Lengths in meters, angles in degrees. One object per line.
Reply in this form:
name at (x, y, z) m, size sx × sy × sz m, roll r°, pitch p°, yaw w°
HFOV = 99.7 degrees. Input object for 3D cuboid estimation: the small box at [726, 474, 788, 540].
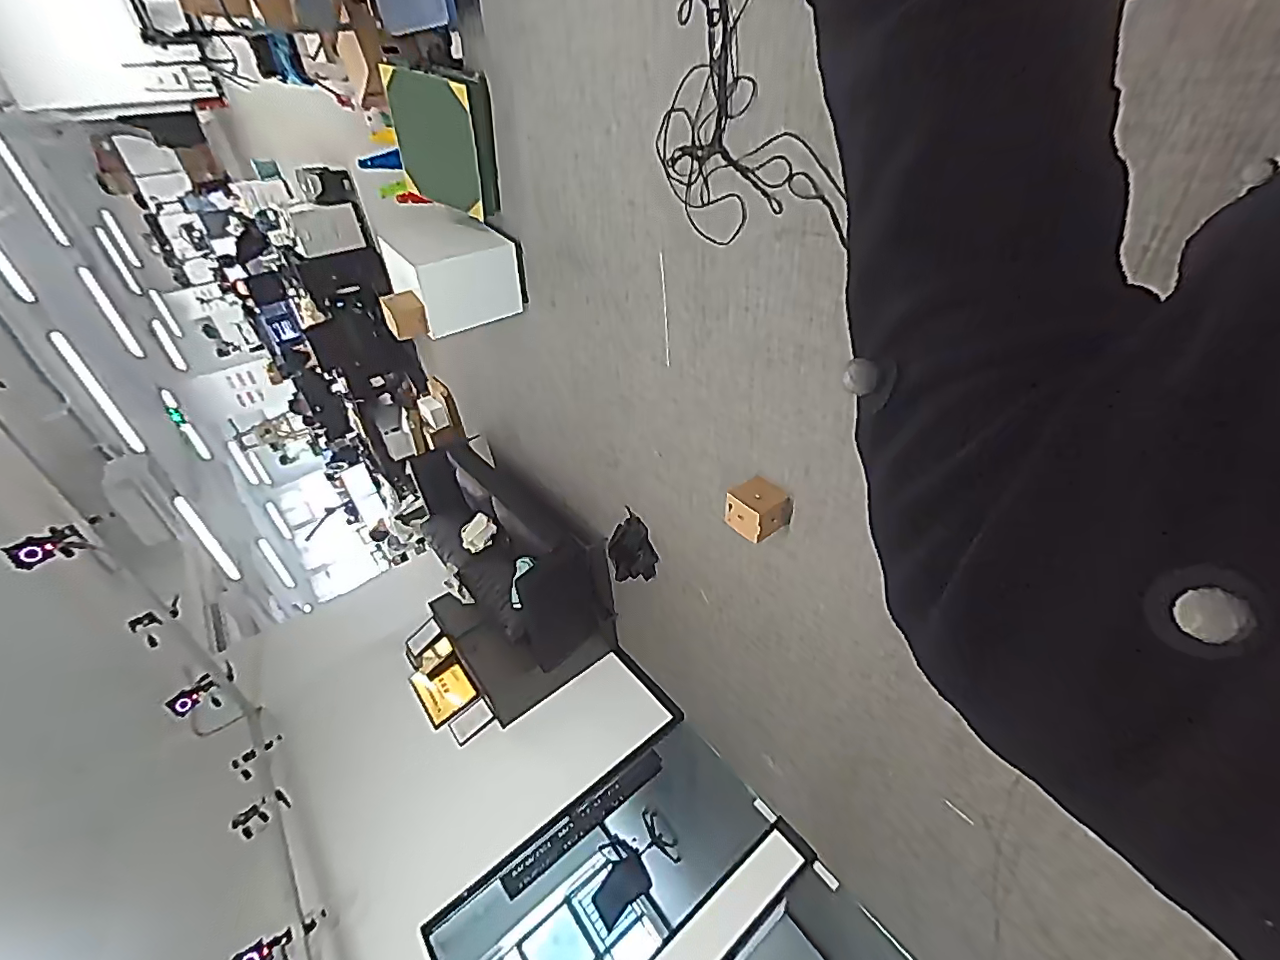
small box at (0.468, 0.102, 2.167) m, size 0.179 × 0.176 × 0.168 m, roll 36°, pitch 143°, yaw 38°
